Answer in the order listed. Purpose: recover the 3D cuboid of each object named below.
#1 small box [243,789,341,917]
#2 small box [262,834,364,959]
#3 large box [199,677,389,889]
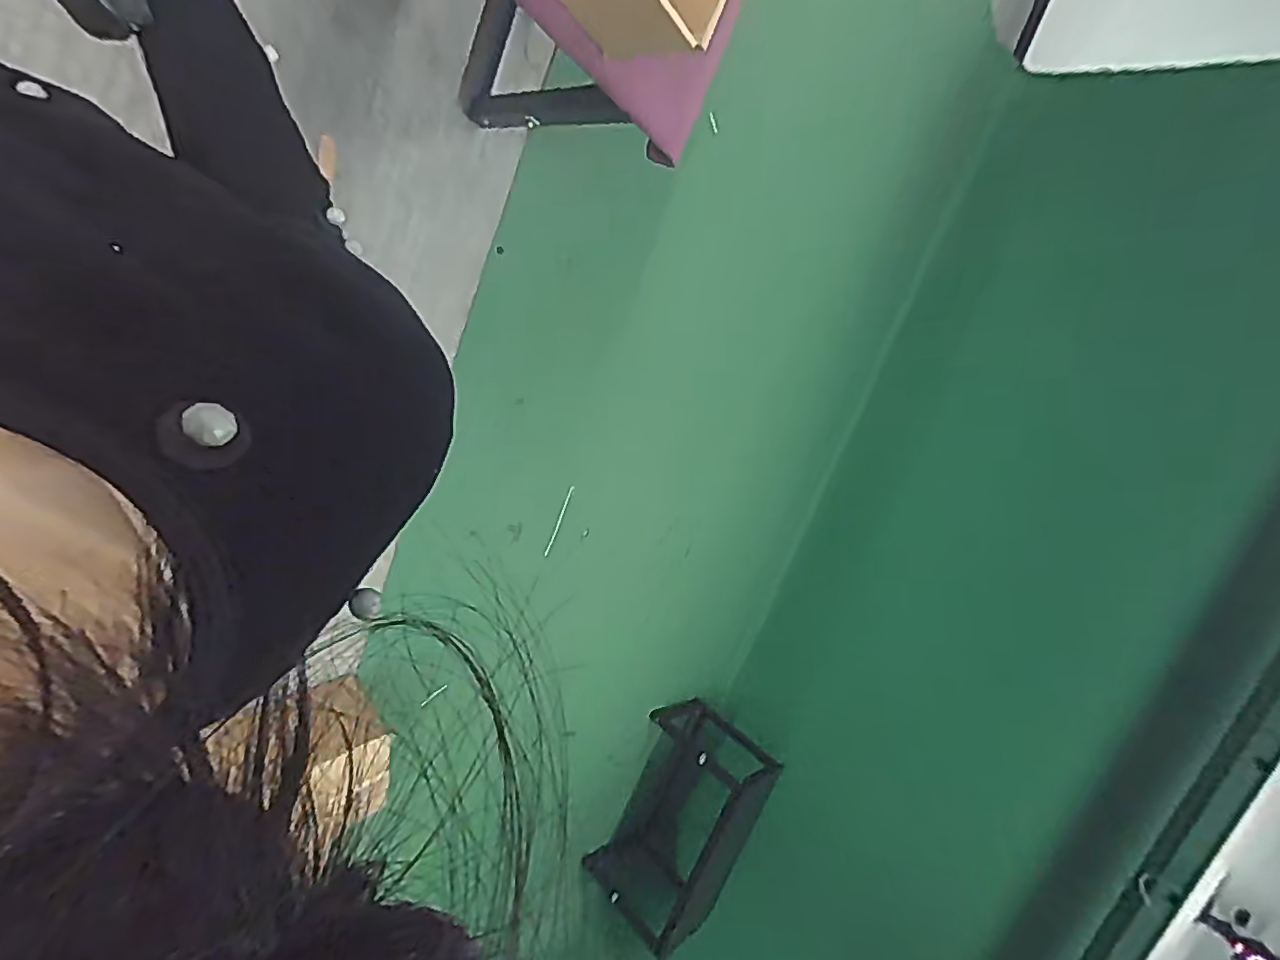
[{"bbox_3d":[-0.899,0.948,1.392,0.179,0.176,0.168,-4,114,-48],"label":"small box"},{"bbox_3d":[-0.784,1.007,1.291,0.179,0.176,0.168,-10,119,-47],"label":"small box"},{"bbox_3d":[-1.016,0.864,1.608,0.408,0.320,0.320,-11,120,-47],"label":"large box"}]
